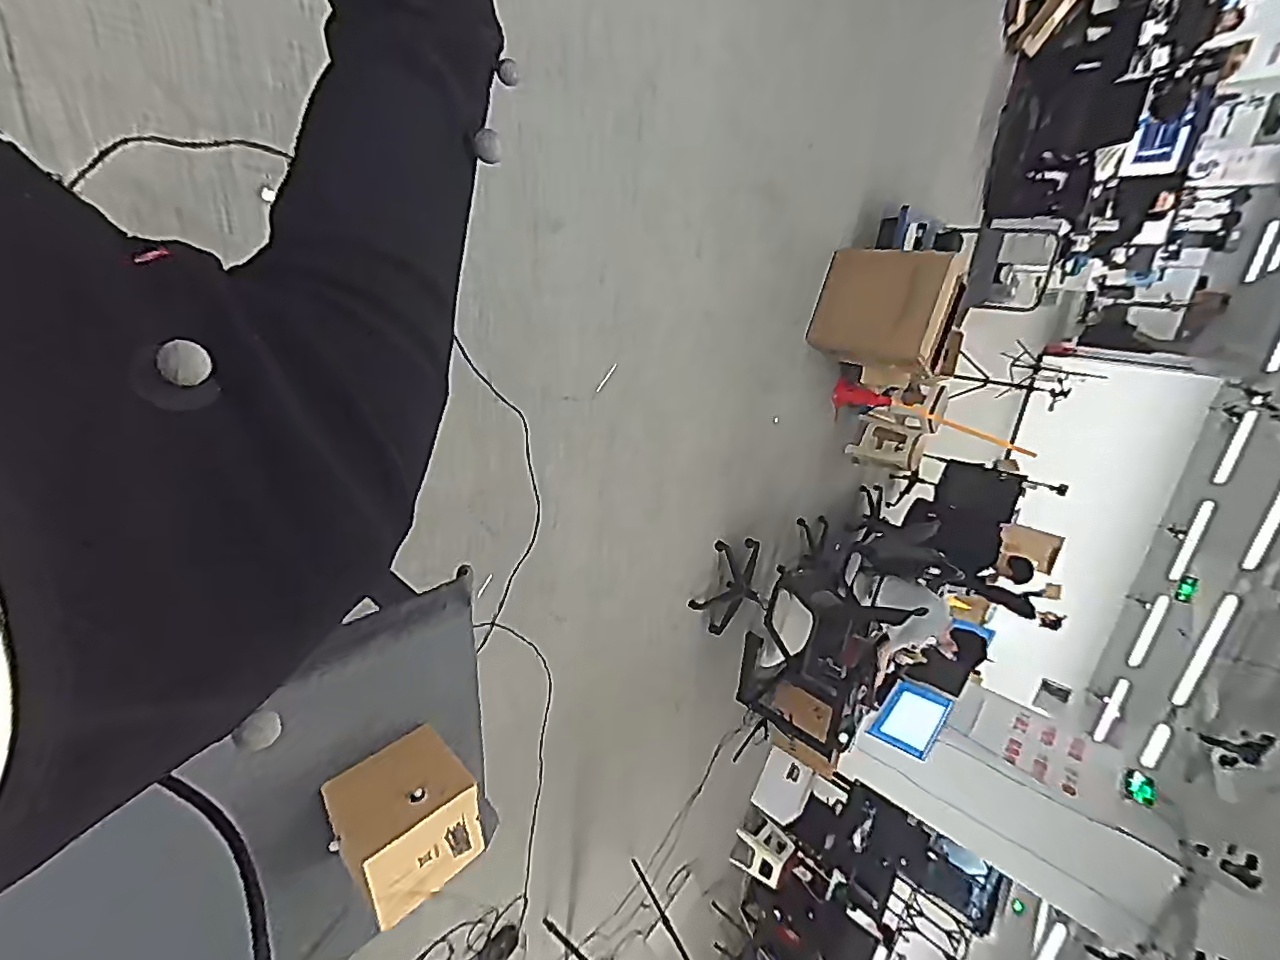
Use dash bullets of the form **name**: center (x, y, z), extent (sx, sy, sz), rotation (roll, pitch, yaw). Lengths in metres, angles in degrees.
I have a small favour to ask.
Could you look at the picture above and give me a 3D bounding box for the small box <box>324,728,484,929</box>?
- **small box**: center (-0.379, 0.548, 0.879), extent (0.179, 0.176, 0.168), rotation (-21, 122, -42)
